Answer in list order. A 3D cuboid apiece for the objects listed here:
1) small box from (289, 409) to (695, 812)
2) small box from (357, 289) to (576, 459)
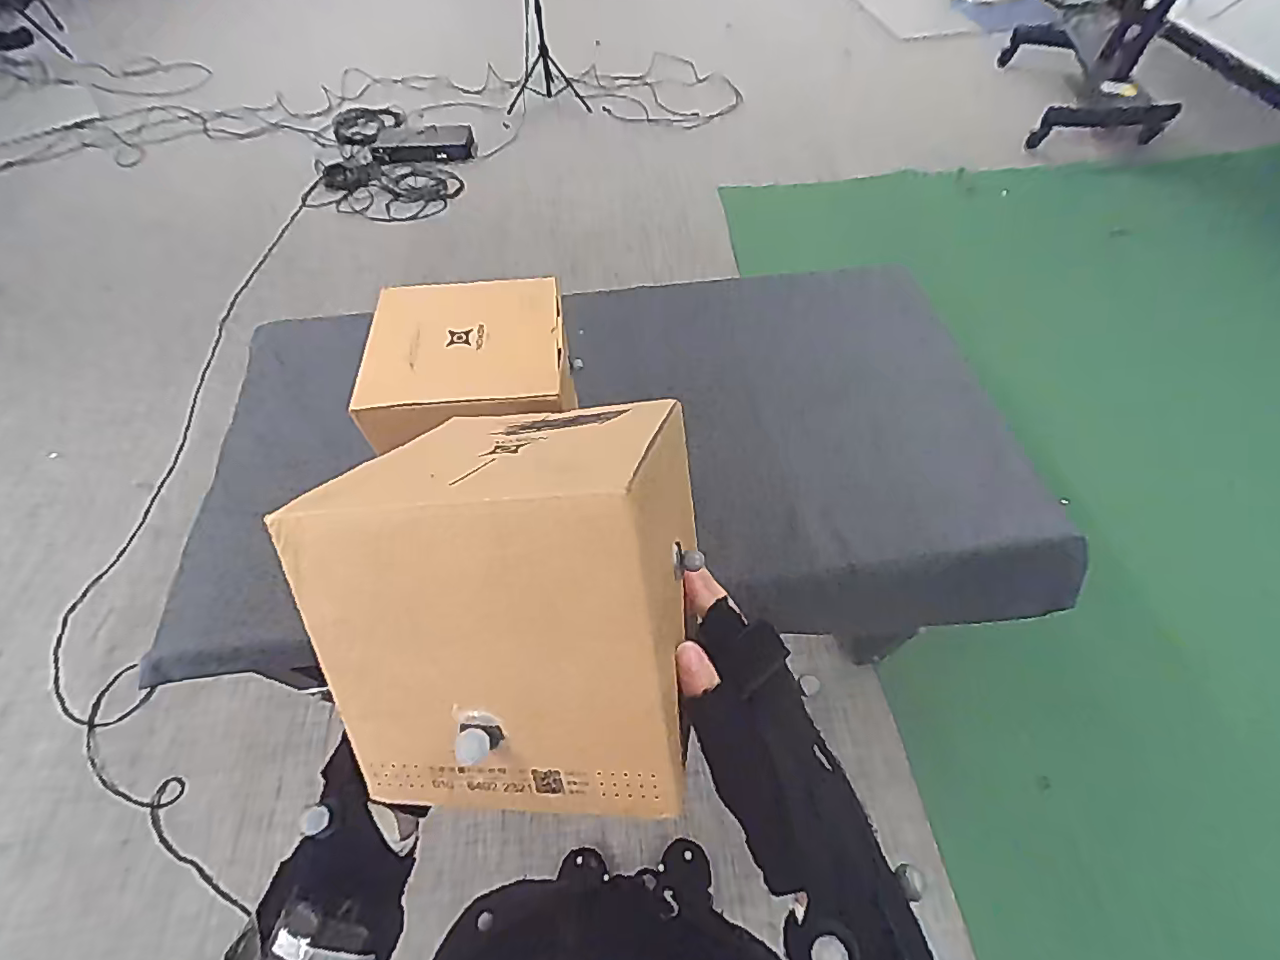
[{"bbox_3d":[-0.060,0.060,0.333,0.168,0.176,0.179,-4,18,13],"label":"small box"},{"bbox_3d":[-0.159,-0.075,0.568,0.179,0.176,0.168,-5,54,-2],"label":"small box"}]
